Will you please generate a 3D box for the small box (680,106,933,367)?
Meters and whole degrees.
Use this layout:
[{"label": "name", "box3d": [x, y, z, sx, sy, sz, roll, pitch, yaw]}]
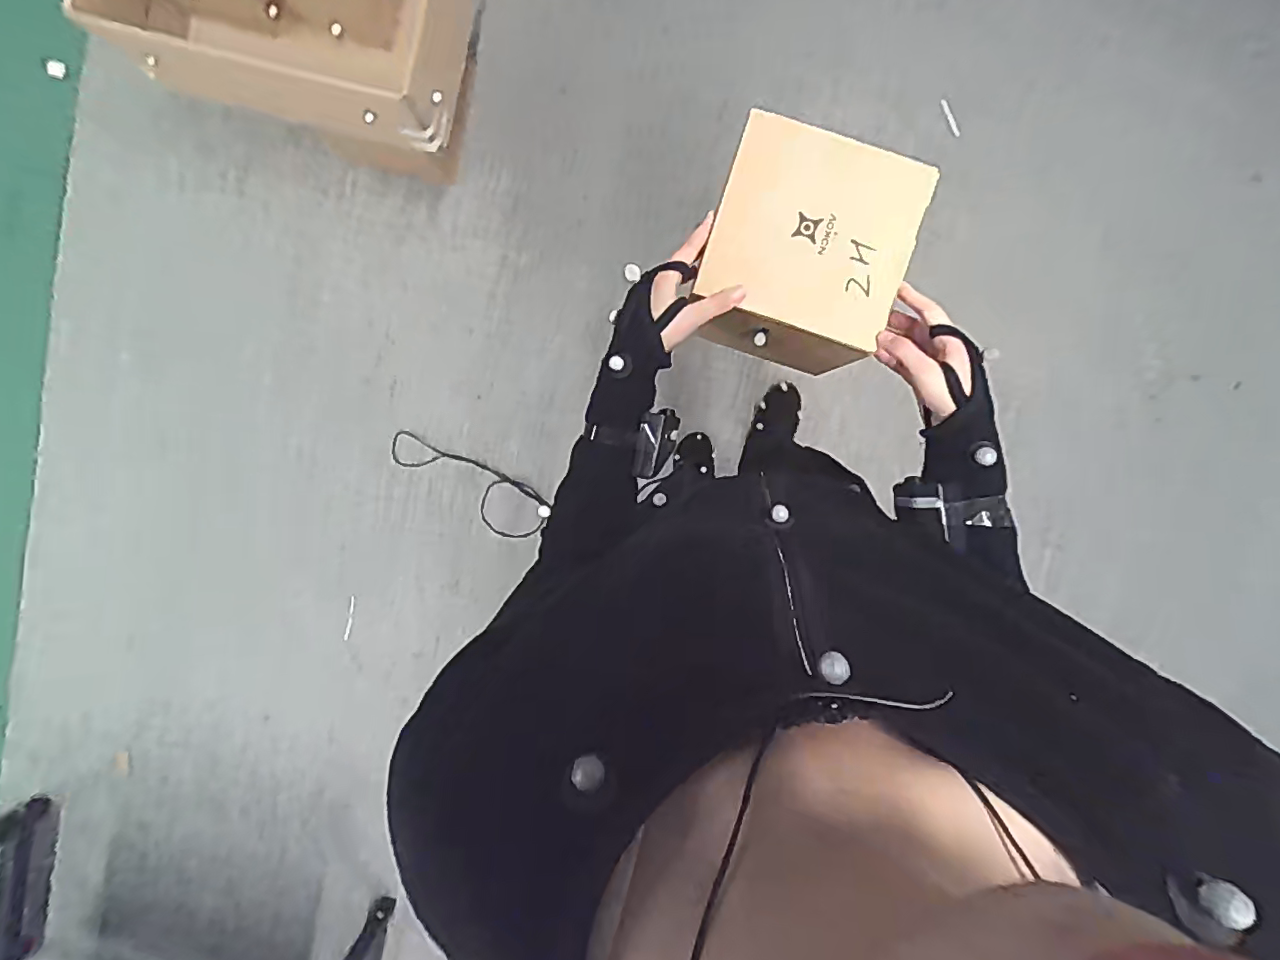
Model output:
[{"label": "small box", "box3d": [0.146, -0.223, 0.546, 0.179, 0.176, 0.168, 18, 94, -1]}]
